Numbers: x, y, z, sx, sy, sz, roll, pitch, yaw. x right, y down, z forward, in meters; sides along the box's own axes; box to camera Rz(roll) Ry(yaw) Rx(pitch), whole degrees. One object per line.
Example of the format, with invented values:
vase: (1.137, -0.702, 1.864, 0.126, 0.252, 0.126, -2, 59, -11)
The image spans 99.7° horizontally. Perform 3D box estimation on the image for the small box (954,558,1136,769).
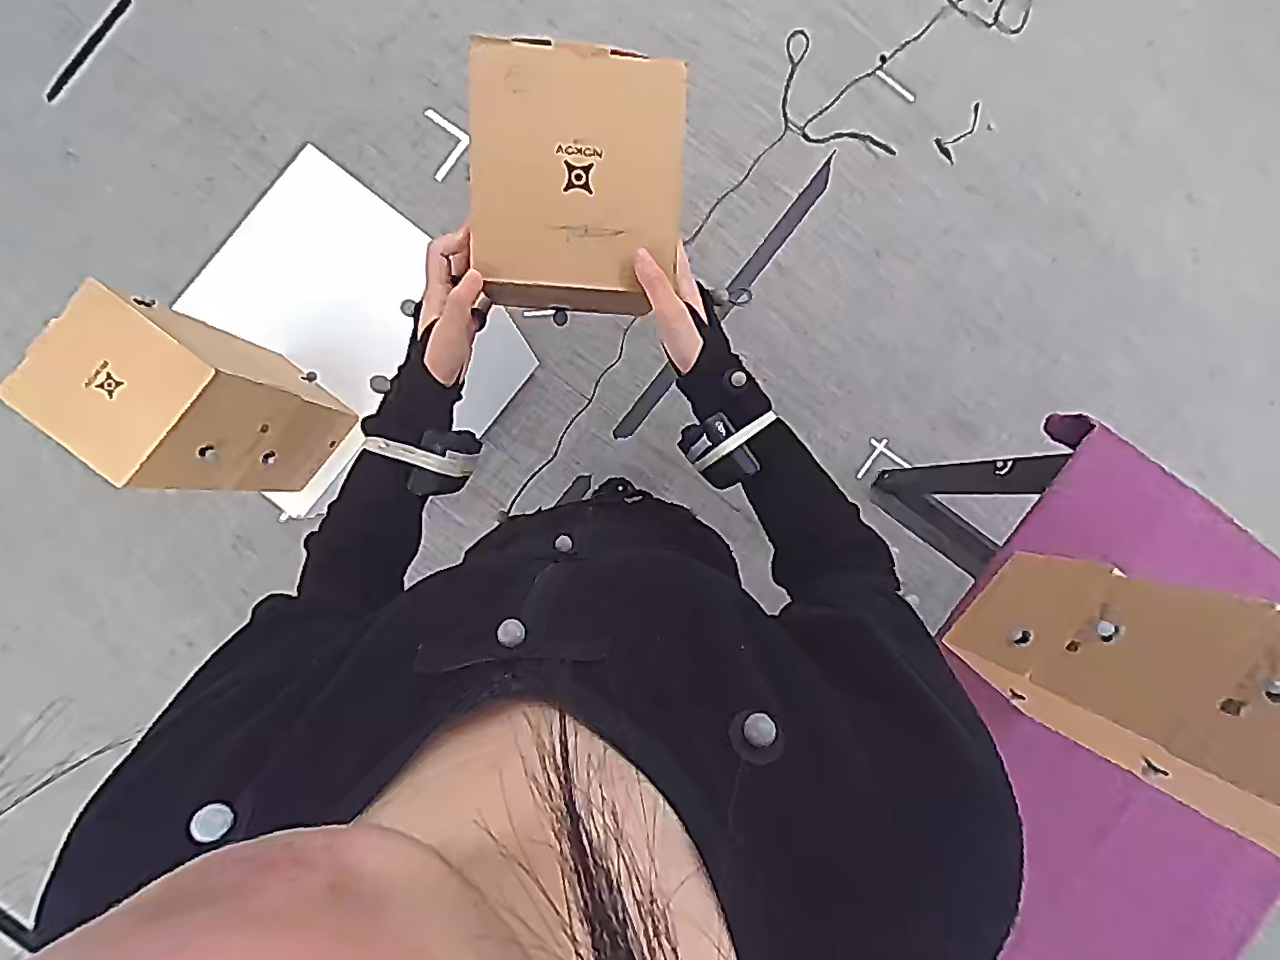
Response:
small box: (0.557, 0.224, 0.711, 0.168, 0.176, 0.179, 42, 87, -1)

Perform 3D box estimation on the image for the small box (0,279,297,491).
small box: (-0.576, -0.103, 0.661, 0.179, 0.176, 0.168, 37, 87, 0)

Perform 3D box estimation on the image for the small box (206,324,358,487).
small box: (-0.583, -0.099, 0.825, 0.179, 0.176, 0.168, 38, 87, 1)

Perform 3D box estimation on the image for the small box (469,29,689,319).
small box: (-0.059, -0.252, 0.493, 0.168, 0.176, 0.179, 1, 101, -9)

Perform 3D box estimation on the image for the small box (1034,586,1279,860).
small box: (0.567, 0.228, 0.547, 0.179, 0.176, 0.168, 41, 88, 1)
